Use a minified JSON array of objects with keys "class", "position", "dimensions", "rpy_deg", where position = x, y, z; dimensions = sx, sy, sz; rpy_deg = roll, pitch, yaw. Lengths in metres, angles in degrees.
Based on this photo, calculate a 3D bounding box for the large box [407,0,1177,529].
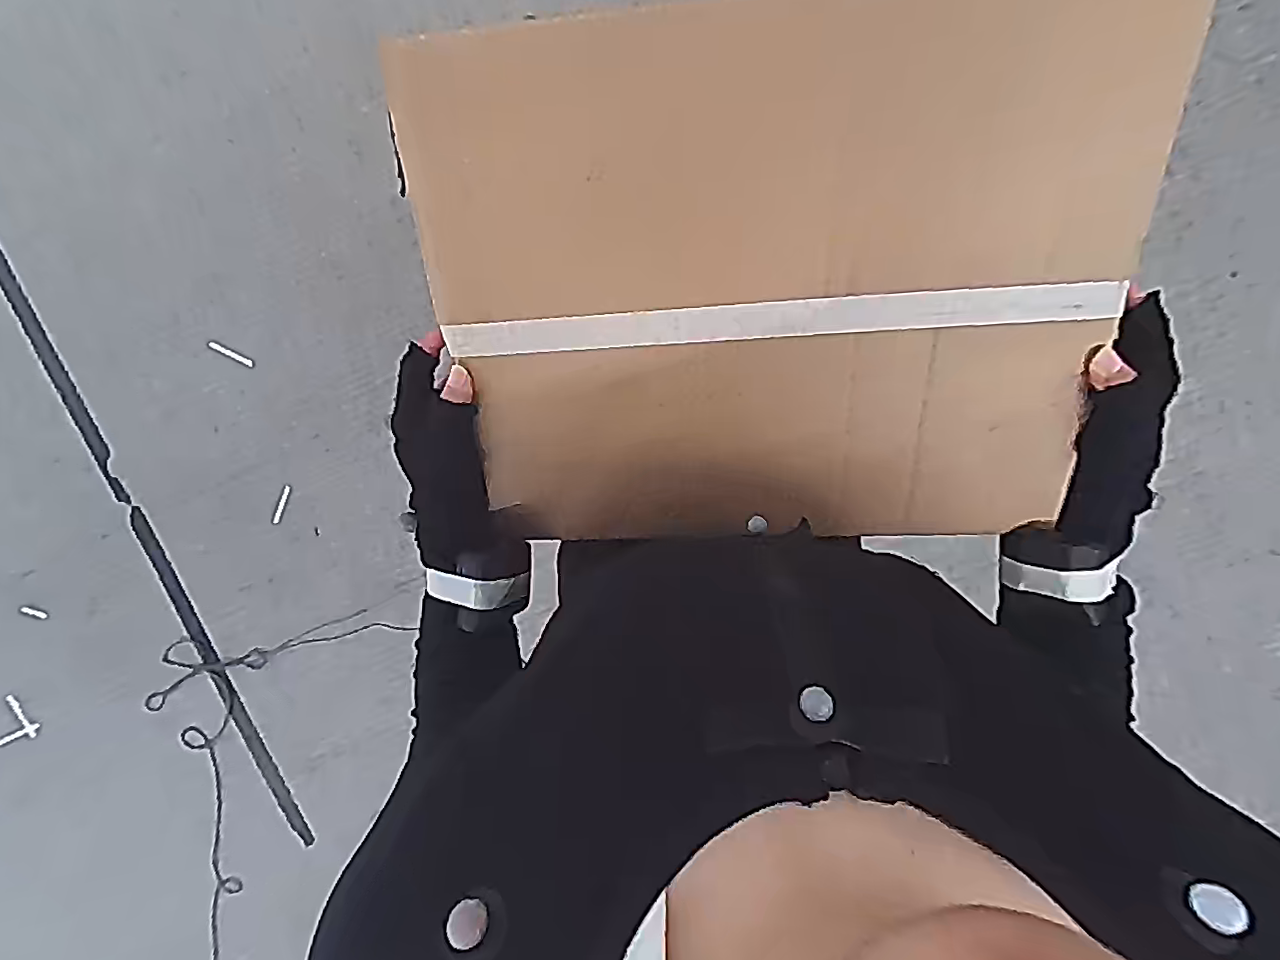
[{"class":"large box","position":[0.086,-0.171,0.479],"dimensions":[0.408,0.320,0.320],"rpy_deg":[-1,118,6]}]
